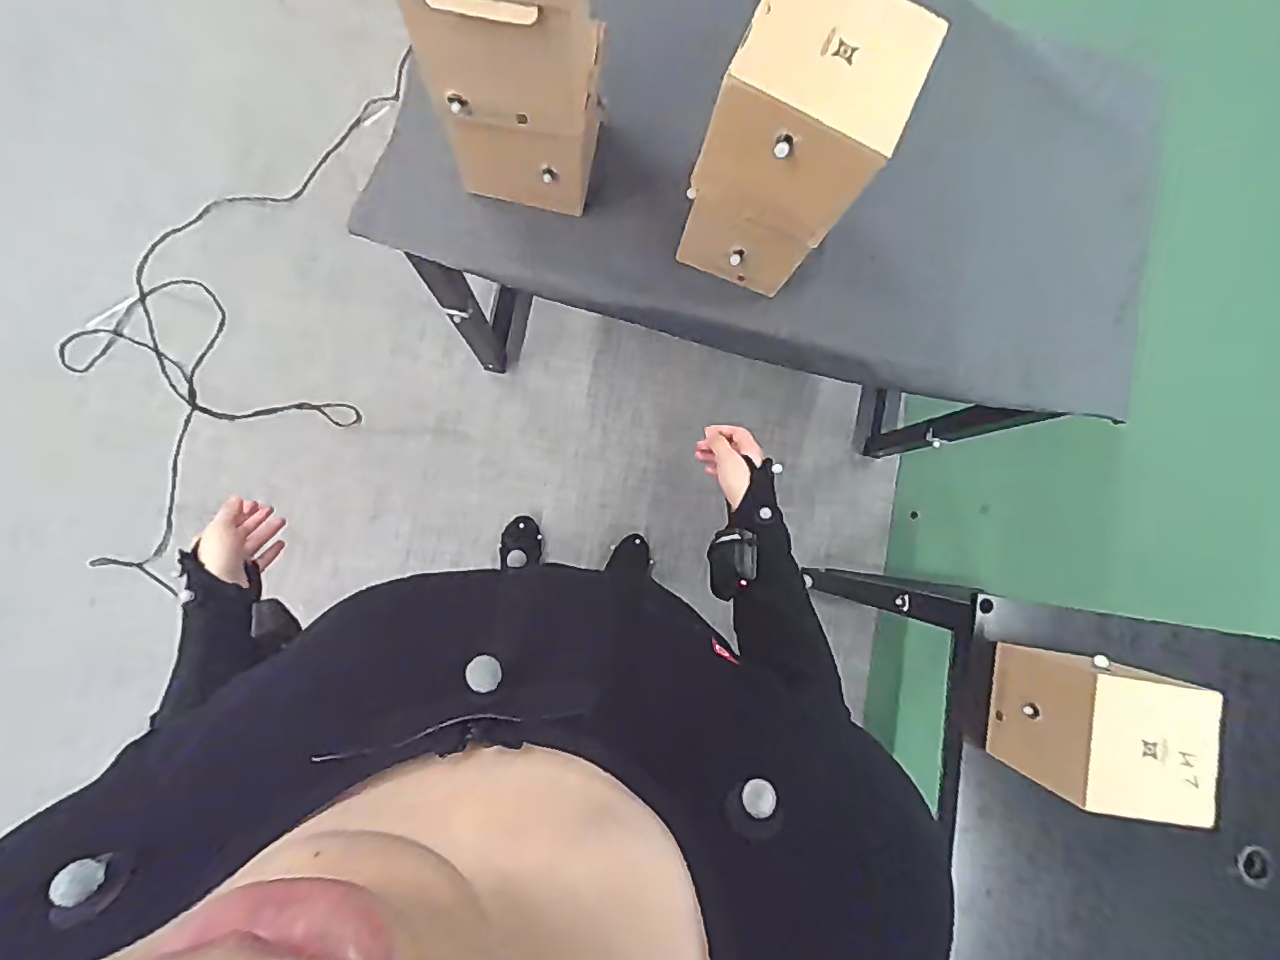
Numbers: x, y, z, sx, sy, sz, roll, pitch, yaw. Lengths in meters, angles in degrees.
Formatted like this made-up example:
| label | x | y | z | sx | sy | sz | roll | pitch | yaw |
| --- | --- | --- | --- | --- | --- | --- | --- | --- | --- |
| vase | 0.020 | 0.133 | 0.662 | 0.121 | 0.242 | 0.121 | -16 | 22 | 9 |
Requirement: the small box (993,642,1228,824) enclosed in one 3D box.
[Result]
| label | x | y | z | sx | sy | sz | roll | pitch | yaw |
| --- | --- | --- | --- | --- | --- | --- | --- | --- | --- |
| small box | 0.623 | 0.329 | 0.737 | 0.179 | 0.176 | 0.168 | 10 | 86 | -4 |

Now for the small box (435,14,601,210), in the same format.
| label | x | y | z | sx | sy | sz | roll | pitch | yaw |
| --- | --- | --- | --- | --- | --- | --- | --- | --- | --- |
| small box | -0.153 | -0.499 | 0.735 | 0.179 | 0.176 | 0.168 | 9 | 83 | -3 |

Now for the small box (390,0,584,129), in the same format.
| label | x | y | z | sx | sy | sz | roll | pitch | yaw |
| --- | --- | --- | --- | --- | --- | --- | --- | --- | --- |
| small box | -0.148 | -0.514 | 0.571 | 0.168 | 0.176 | 0.179 | 6 | 83 | -5 |

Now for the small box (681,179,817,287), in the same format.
| label | x | y | z | sx | sy | sz | roll | pitch | yaw |
| --- | --- | --- | --- | --- | --- | --- | --- | --- | --- |
| small box | 0.164 | -0.401 | 0.754 | 0.168 | 0.176 | 0.179 | 20 | 84 | -3 |

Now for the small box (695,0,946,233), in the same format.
| label | x | y | z | sx | sy | sz | roll | pitch | yaw |
| --- | --- | --- | --- | --- | --- | --- | --- | --- | --- |
| small box | 0.180 | -0.406 | 0.591 | 0.179 | 0.176 | 0.168 | 25 | 83 | -2 |
